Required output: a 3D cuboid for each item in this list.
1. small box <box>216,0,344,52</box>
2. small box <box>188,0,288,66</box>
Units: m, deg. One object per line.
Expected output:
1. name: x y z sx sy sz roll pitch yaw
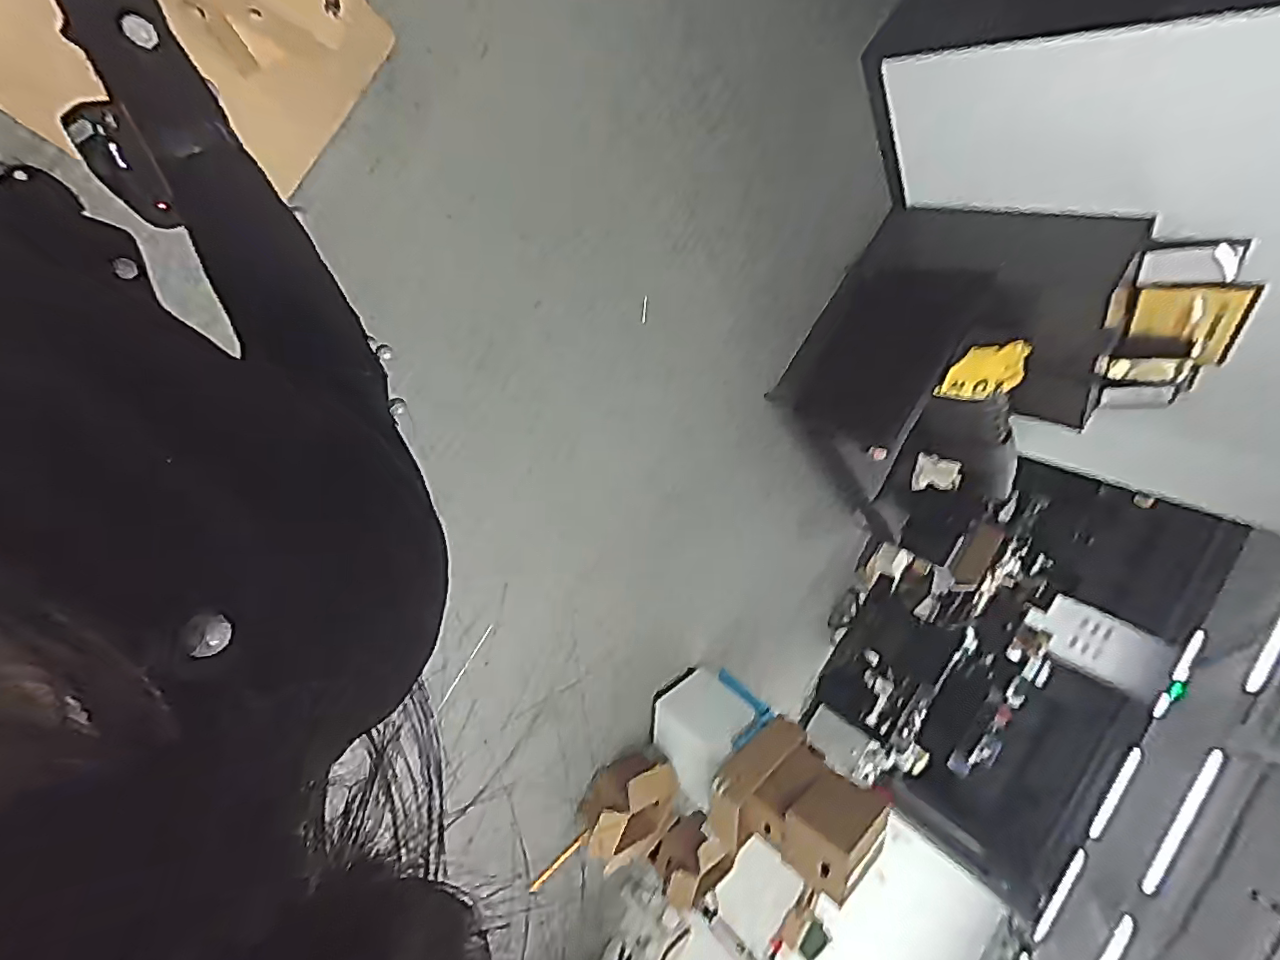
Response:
1. small box: -0.578 -0.819 0.850 0.179 0.176 0.168 11 103 -49
2. small box: -0.689 -0.870 0.960 0.179 0.176 0.168 -45 138 -19
